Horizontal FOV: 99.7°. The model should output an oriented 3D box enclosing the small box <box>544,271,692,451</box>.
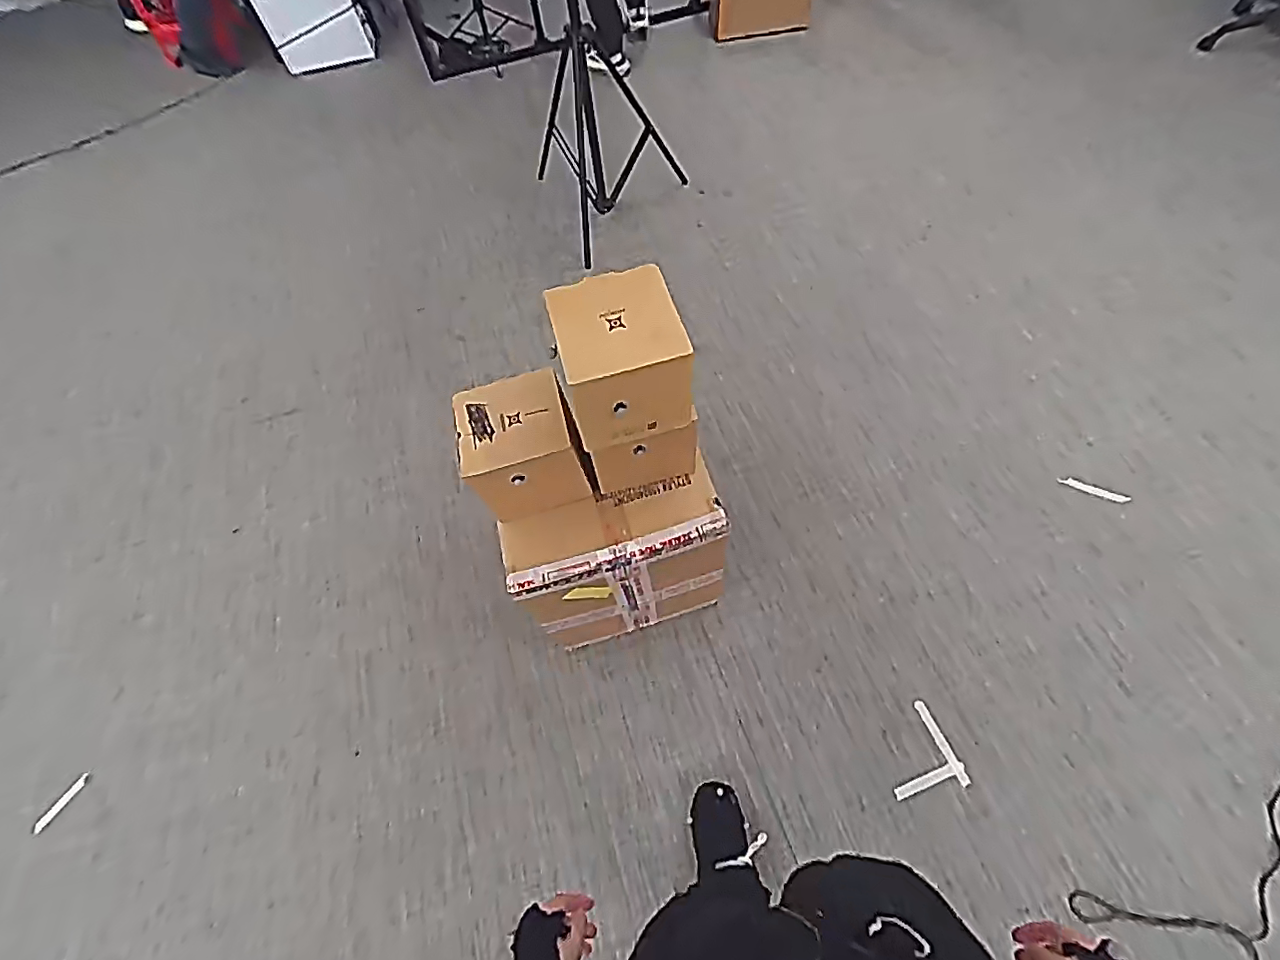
[{"bbox_3d":[-0.026,-0.159,0.779,0.168,0.176,0.179,-16,61,-4],"label":"small box"}]
